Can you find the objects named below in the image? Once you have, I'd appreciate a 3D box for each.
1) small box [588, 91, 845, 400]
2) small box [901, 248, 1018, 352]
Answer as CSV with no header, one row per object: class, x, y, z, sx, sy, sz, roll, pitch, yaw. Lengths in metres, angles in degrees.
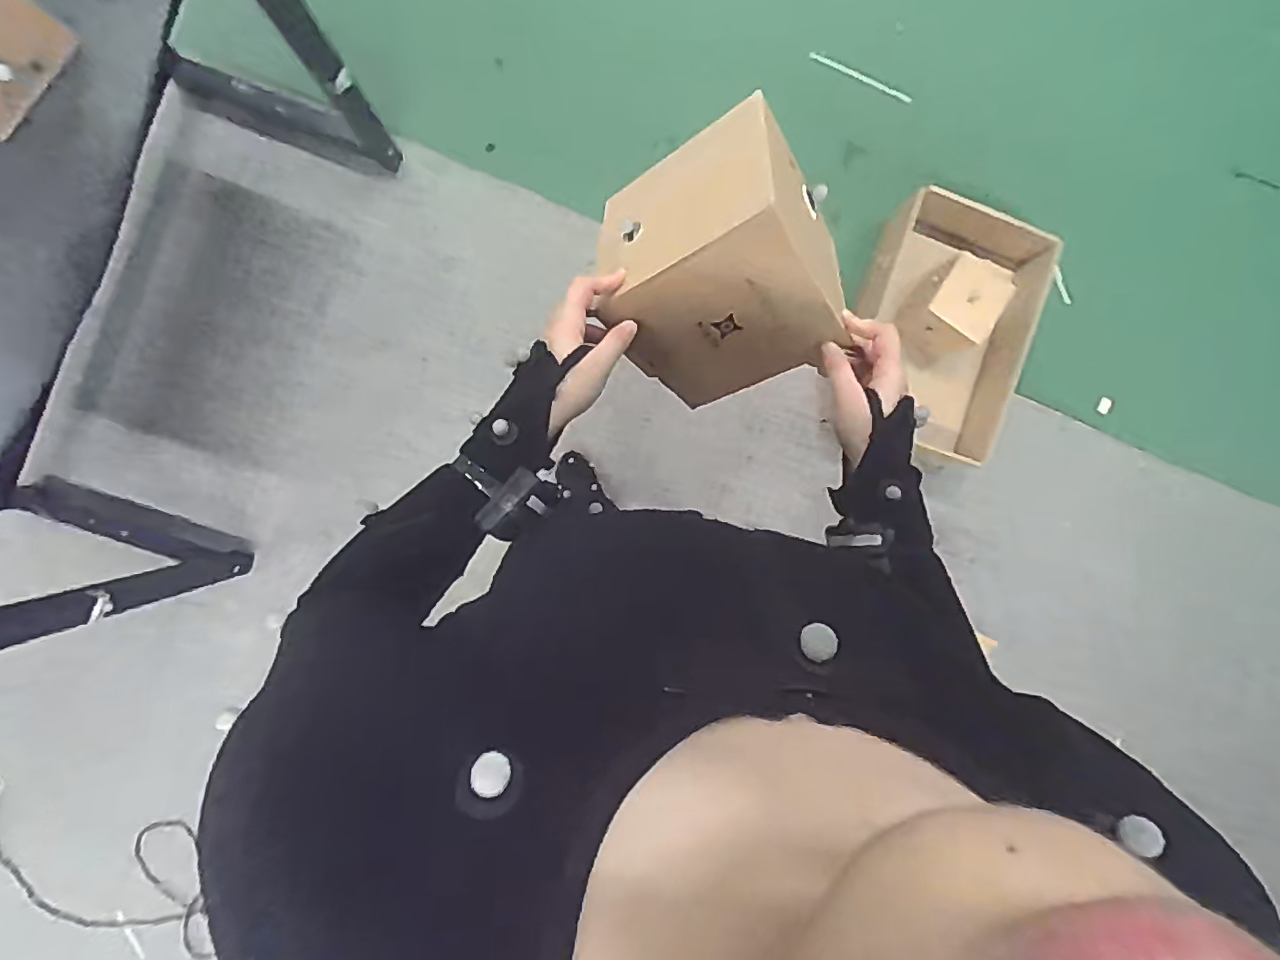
small box,0.073,-0.213,0.521,0.179,0.168,0.176,-21,53,33
small box,0.816,-0.457,1.406,0.168,0.176,0.179,32,90,-5
